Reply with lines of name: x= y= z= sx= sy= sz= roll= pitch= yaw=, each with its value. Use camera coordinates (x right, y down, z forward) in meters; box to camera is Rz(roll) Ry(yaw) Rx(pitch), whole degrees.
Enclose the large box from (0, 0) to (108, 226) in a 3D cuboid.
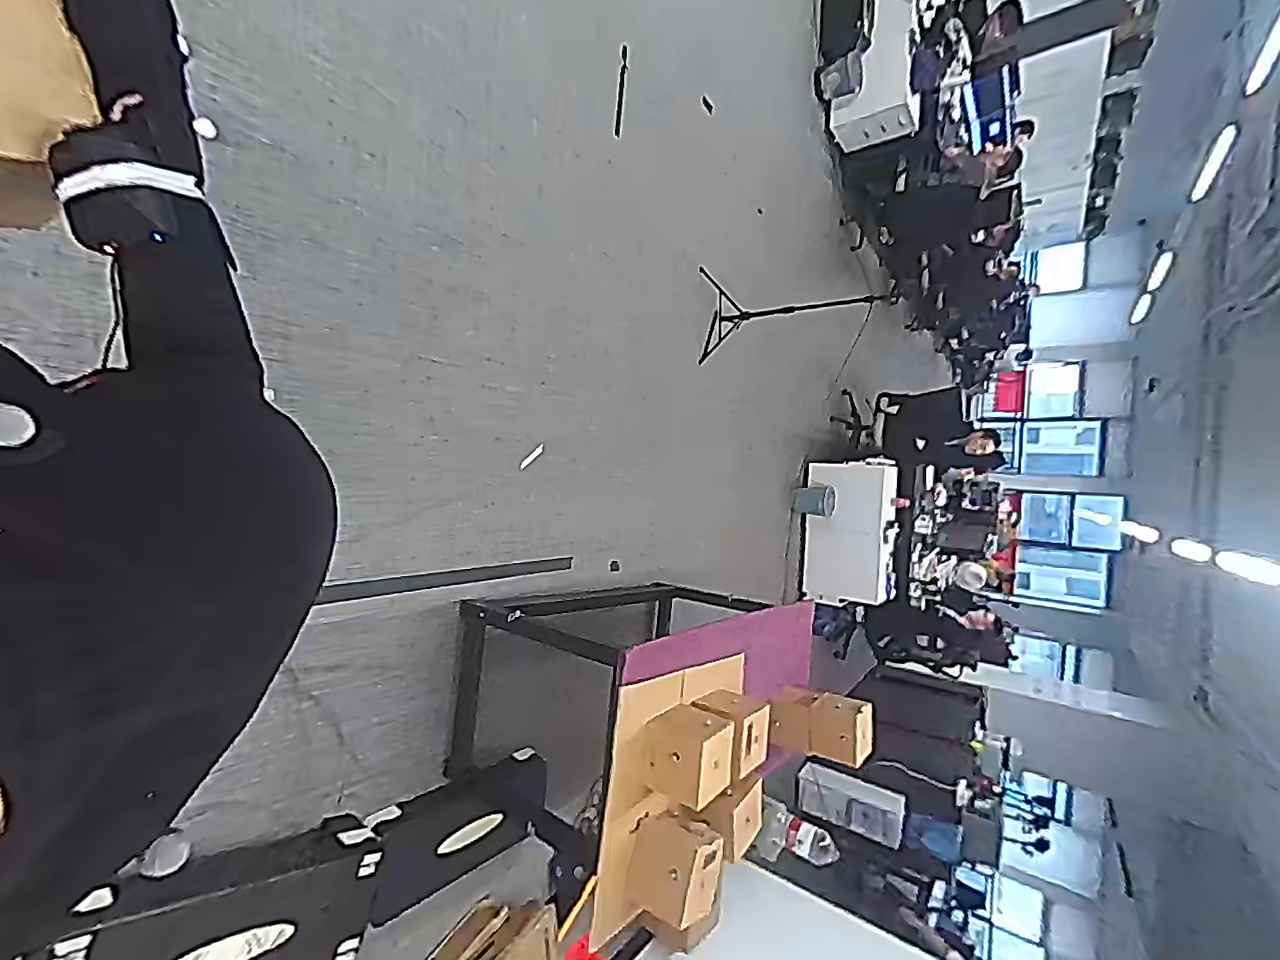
large box: x=-0.629 y=-0.348 z=0.288 sx=0.408 sy=0.320 sz=0.320 roll=-20 pitch=115 yaw=-52
